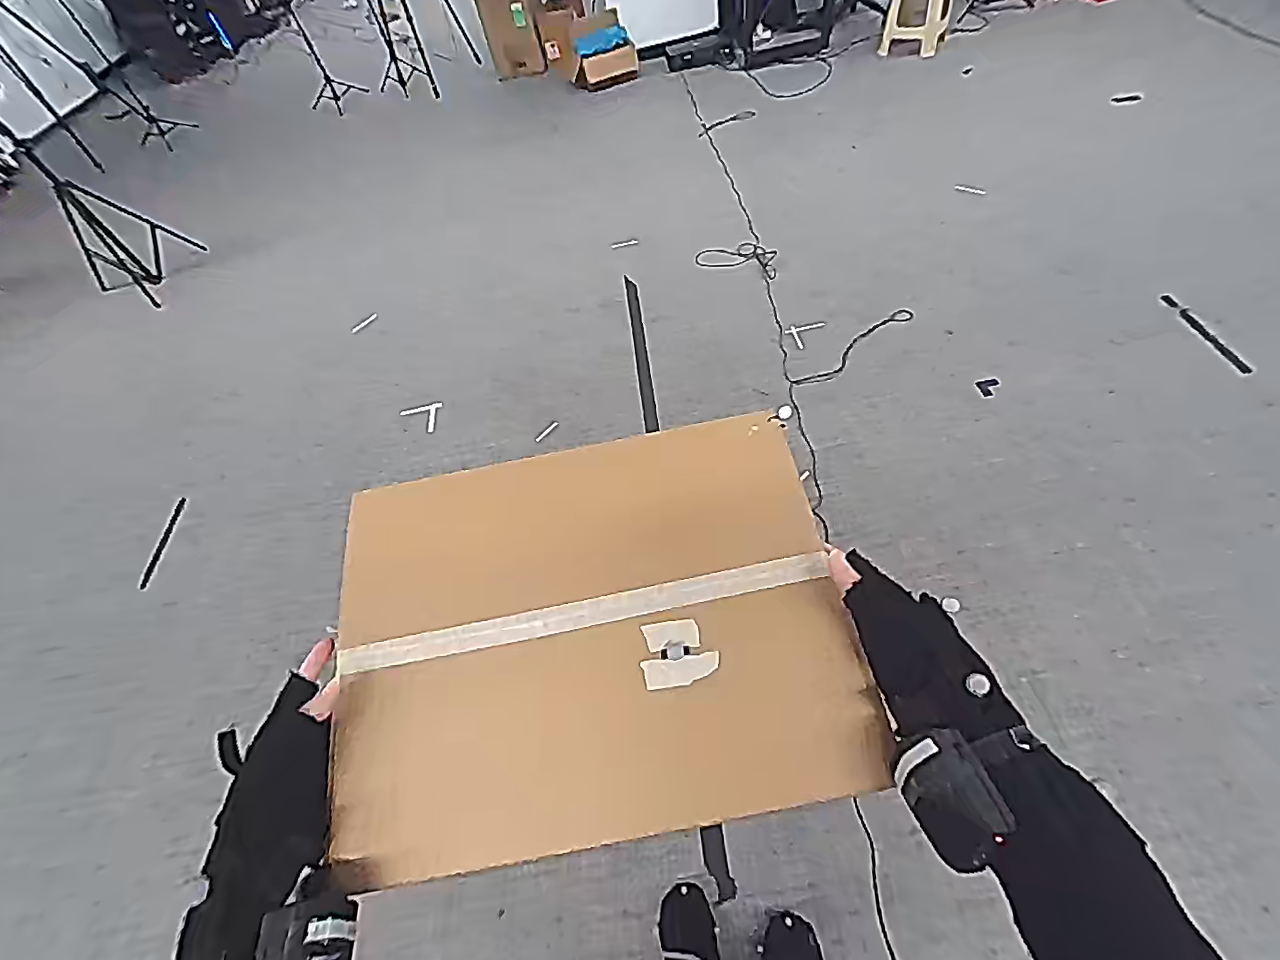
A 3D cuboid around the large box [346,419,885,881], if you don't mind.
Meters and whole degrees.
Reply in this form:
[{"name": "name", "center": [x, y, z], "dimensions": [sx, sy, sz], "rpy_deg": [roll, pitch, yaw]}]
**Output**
[{"name": "large box", "center": [-0.032, 0.180, 0.585], "dimensions": [0.408, 0.320, 0.320], "rpy_deg": [-11, 63, -1]}]
